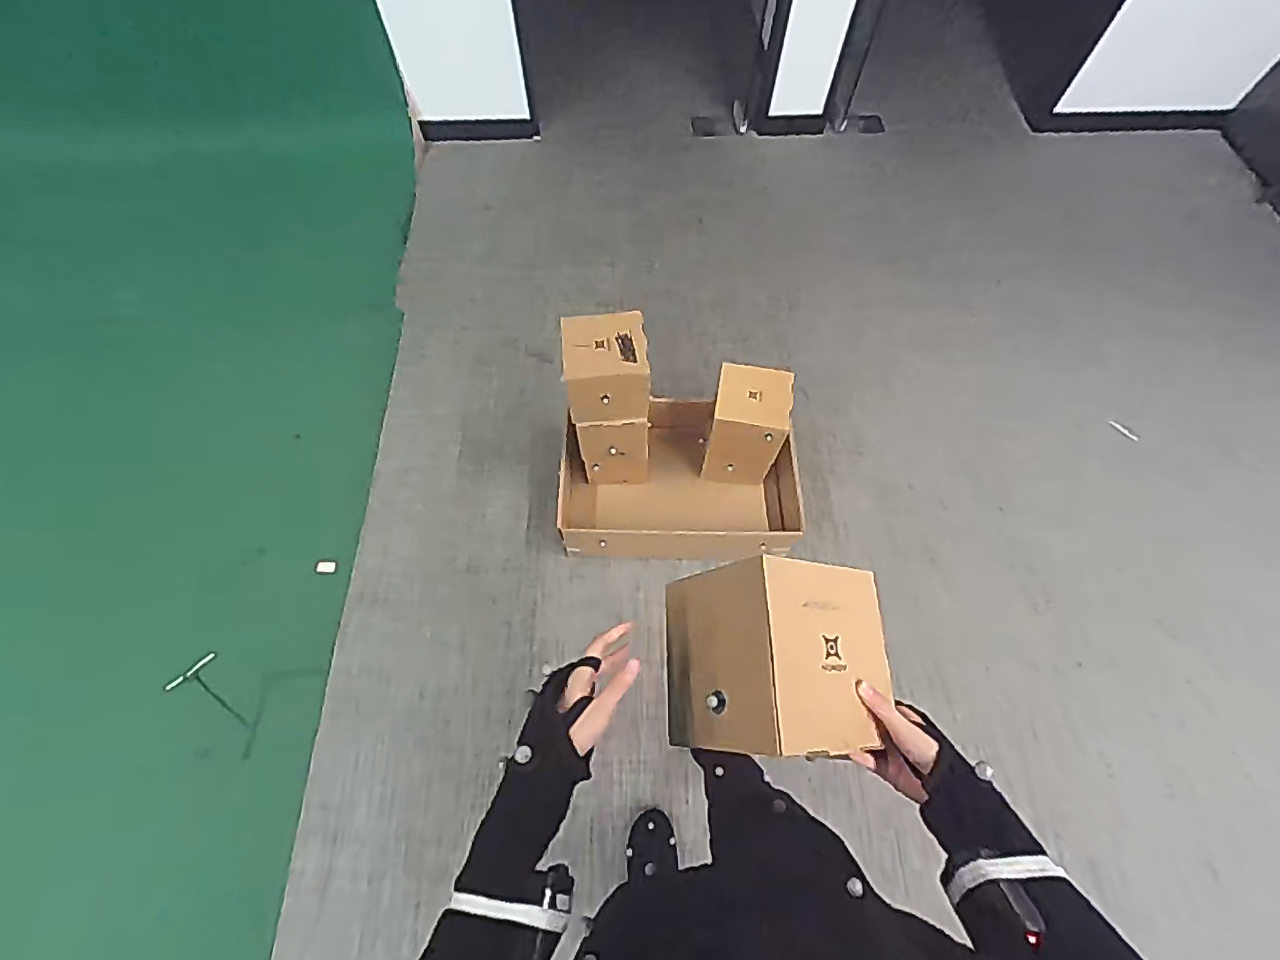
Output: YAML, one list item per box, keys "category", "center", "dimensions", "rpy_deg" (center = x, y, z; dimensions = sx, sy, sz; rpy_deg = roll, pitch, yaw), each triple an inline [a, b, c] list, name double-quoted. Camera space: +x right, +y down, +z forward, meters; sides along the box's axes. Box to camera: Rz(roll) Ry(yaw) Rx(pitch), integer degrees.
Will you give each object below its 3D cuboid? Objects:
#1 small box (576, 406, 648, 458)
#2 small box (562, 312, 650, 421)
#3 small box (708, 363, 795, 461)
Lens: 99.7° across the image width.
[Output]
- category: "small box"
  center: [-0.067, -0.171, 1.335]
  dimensions: [0.168, 0.176, 0.179]
  rpy_deg: [-3, 65, 0]
- category: "small box"
  center: [-0.073, -0.244, 1.188]
  dimensions: [0.179, 0.176, 0.168]
  rpy_deg: [-5, 65, -1]
- category: "small box"
  center: [0.270, -0.162, 1.337]
  dimensions: [0.179, 0.176, 0.168]
  rpy_deg: [10, 66, 4]
